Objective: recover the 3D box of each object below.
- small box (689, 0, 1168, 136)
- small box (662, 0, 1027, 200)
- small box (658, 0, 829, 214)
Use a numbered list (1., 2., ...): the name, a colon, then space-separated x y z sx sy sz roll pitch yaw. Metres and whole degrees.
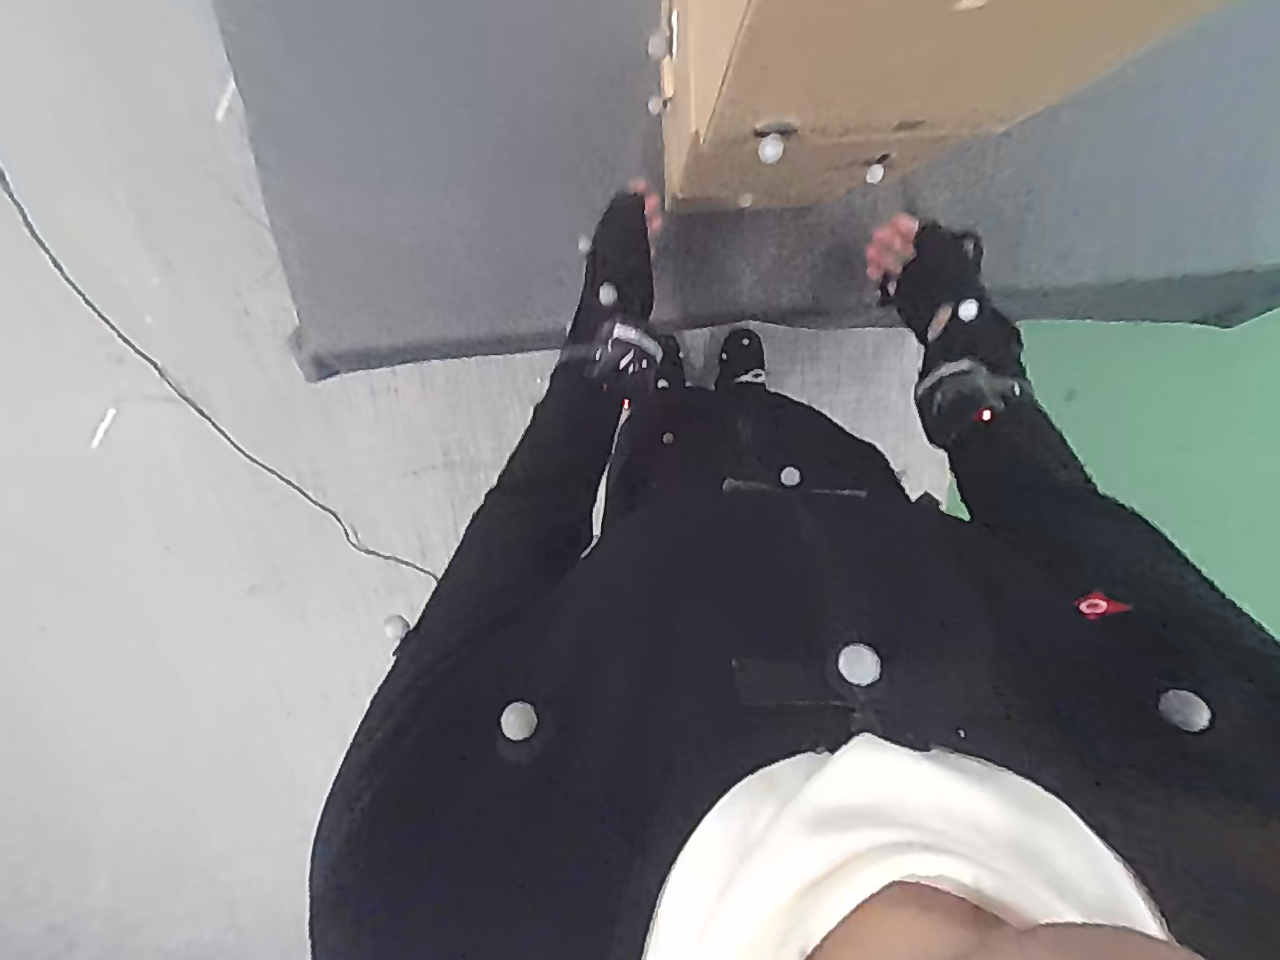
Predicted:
1. small box: 0.107 -0.248 0.199 0.168 0.176 0.179 -4 105 1
2. small box: 0.111 -0.290 0.341 0.179 0.176 0.168 -7 107 2
3. small box: 0.109 -0.361 0.508 0.179 0.176 0.168 -6 105 1
